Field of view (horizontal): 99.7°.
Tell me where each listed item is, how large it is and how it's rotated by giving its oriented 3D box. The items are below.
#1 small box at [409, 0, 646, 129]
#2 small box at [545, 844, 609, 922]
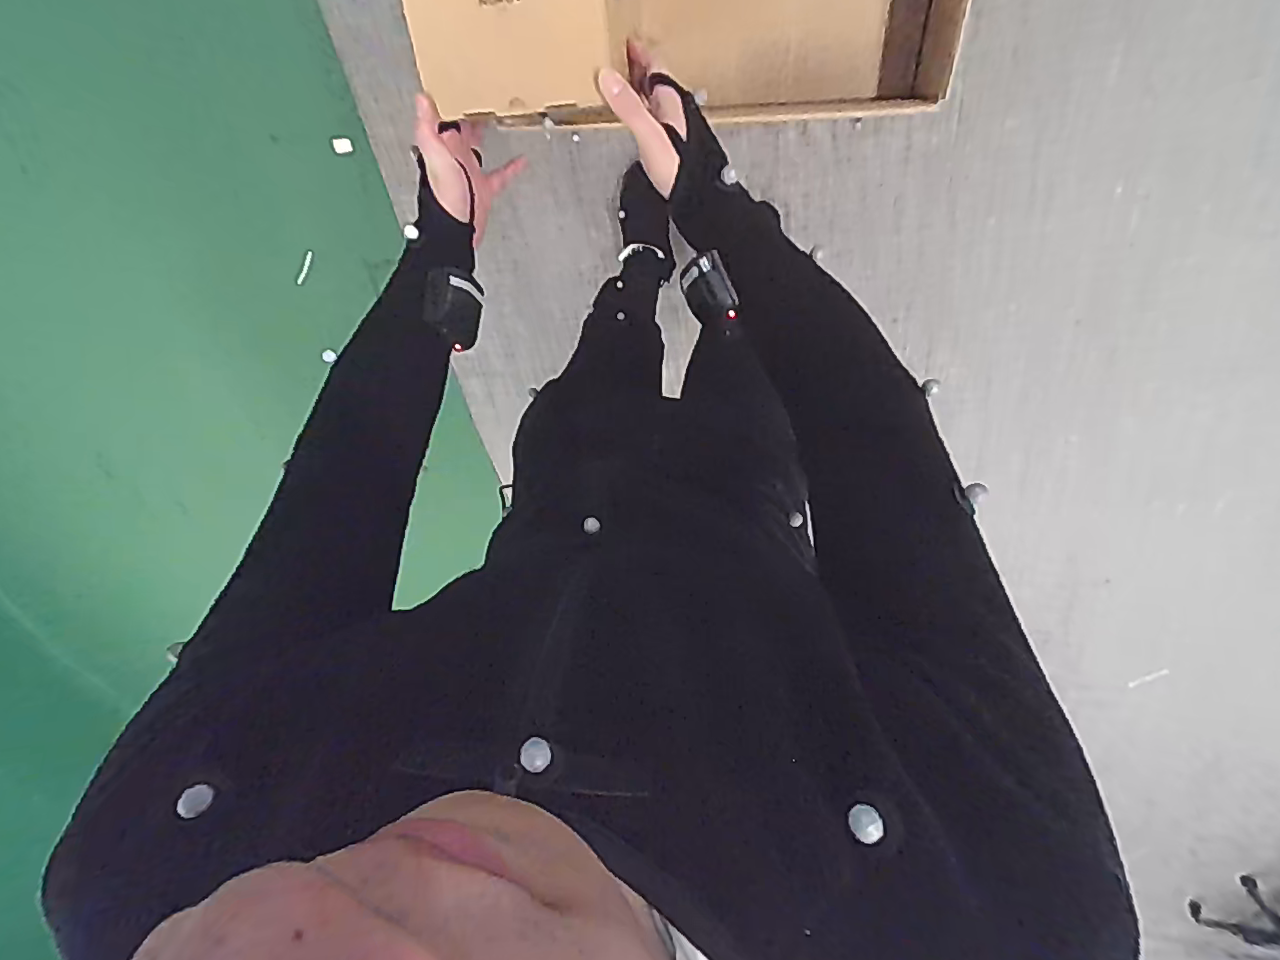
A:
[{"bbox_3d":[-0.089,-0.421,0.478,0.168,0.176,0.179,2,126,9],"label":"small box"},{"bbox_3d":[-0.210,1.388,1.865,0.168,0.176,0.179,-5,126,11],"label":"small box"}]
